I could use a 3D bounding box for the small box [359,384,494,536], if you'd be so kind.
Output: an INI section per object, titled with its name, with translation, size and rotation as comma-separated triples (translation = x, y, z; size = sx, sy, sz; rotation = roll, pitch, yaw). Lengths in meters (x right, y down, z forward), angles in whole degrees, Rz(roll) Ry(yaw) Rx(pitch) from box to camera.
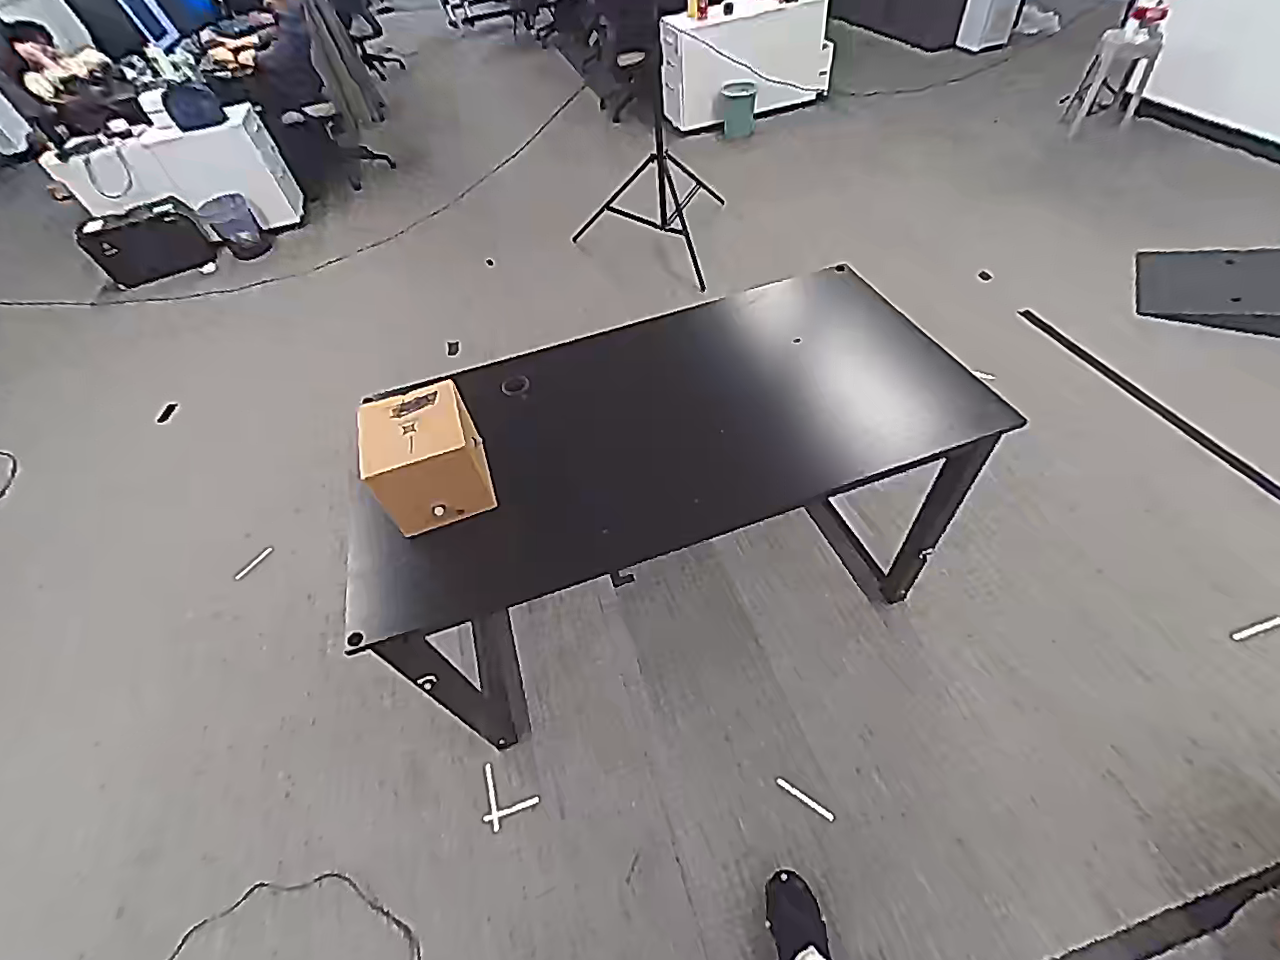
[small box]
translation = -0.371, -0.034, 0.950
size = 0.168, 0.176, 0.179
rotation = -19, 52, -8
